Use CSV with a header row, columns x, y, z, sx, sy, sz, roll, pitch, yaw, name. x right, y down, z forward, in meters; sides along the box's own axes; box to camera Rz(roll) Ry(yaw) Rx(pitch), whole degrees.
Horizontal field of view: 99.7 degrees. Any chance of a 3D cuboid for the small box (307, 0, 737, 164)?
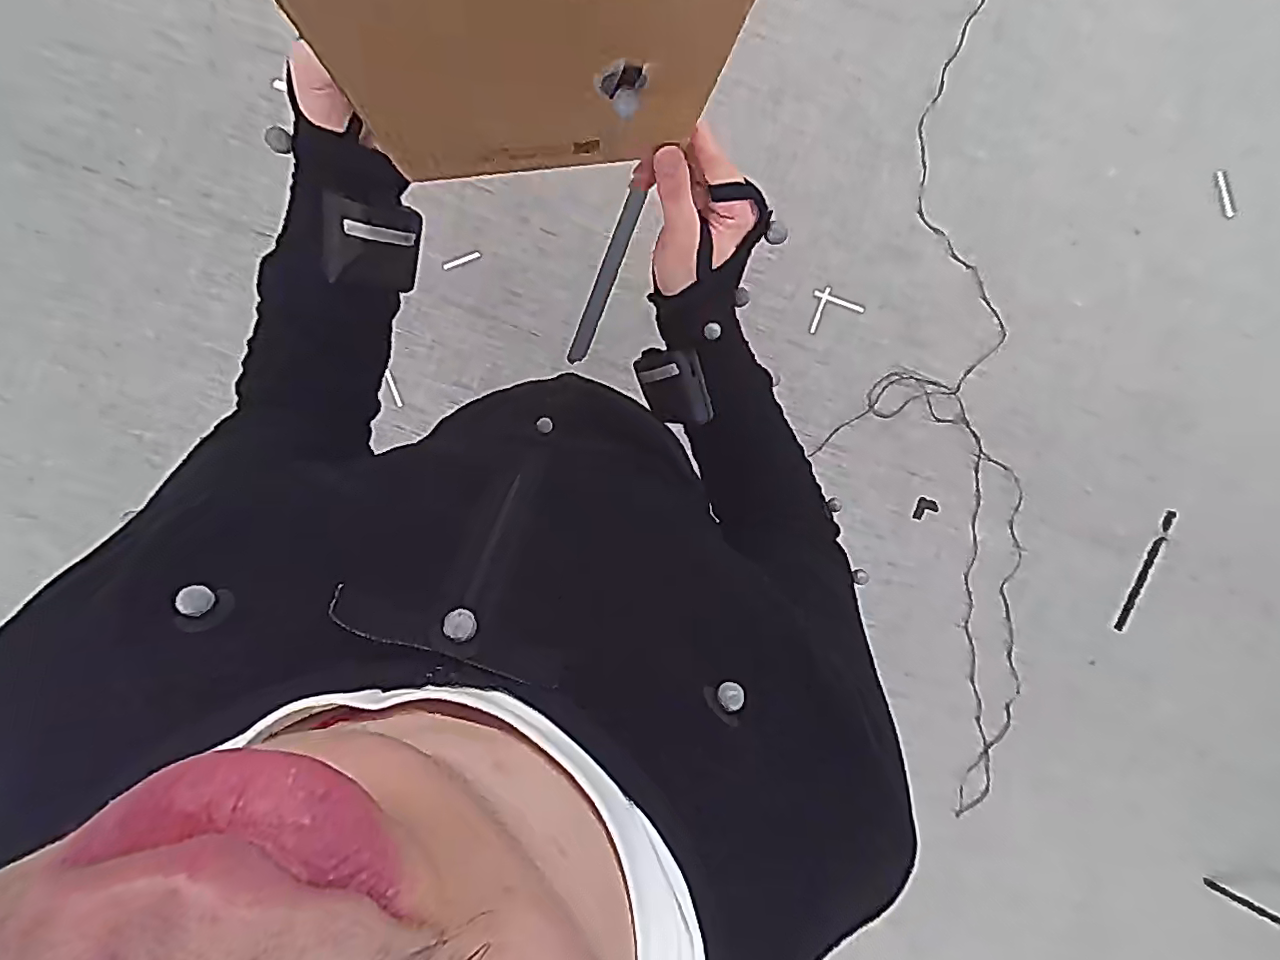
x,y,z,sx,sy,sz,roll,pitch,yaw,name
-0.052,-0.263,0.238,0.168,0.176,0.179,-10,98,-8,small box
